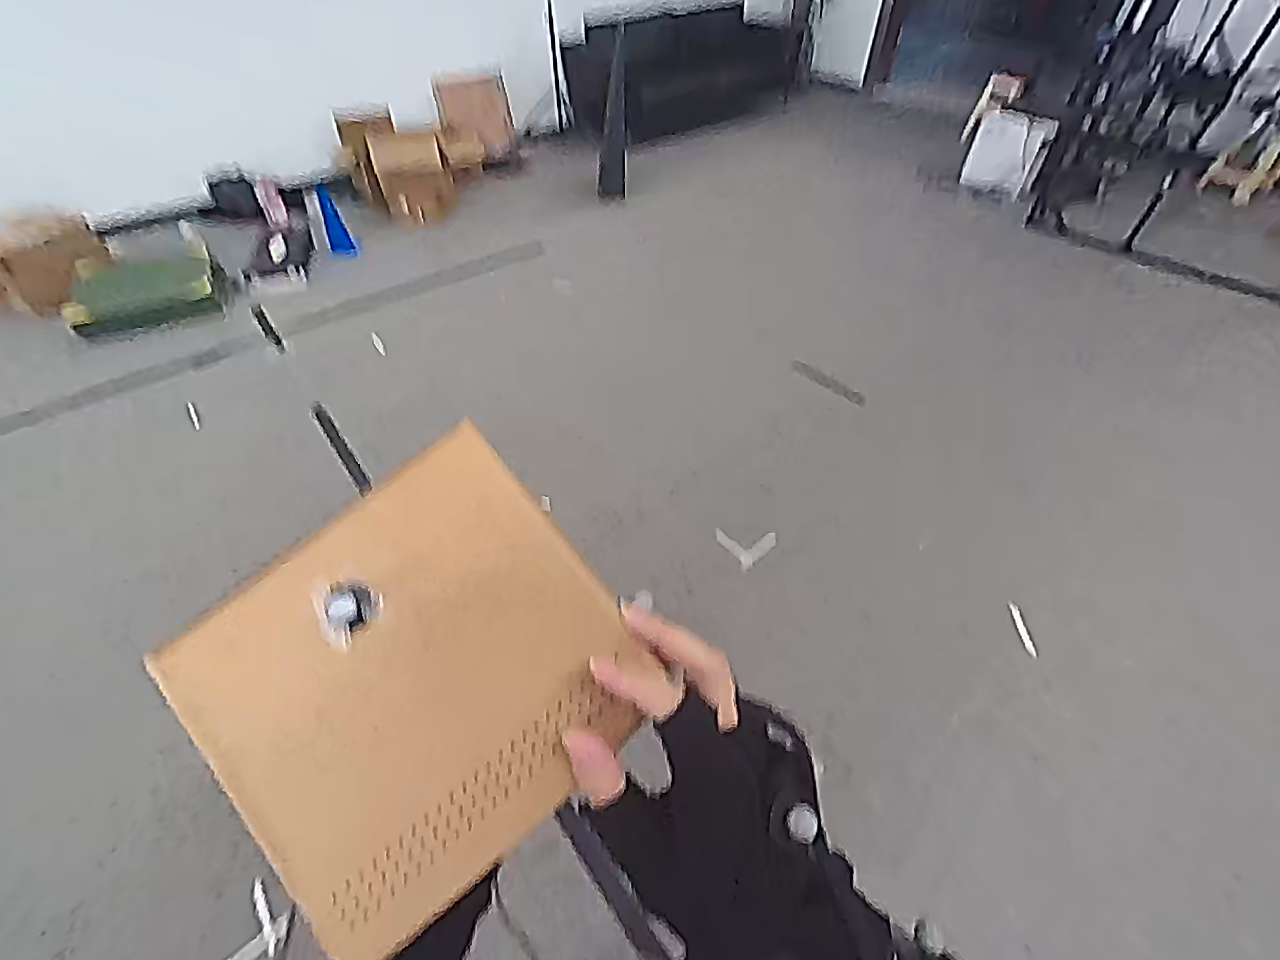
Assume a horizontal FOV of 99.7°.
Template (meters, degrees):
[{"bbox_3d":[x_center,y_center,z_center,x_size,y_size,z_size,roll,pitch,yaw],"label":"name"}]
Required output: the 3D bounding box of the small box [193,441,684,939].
[{"bbox_3d":[-0.096,0.109,0.331,0.179,0.168,0.176,-38,83,-8],"label":"small box"}]
